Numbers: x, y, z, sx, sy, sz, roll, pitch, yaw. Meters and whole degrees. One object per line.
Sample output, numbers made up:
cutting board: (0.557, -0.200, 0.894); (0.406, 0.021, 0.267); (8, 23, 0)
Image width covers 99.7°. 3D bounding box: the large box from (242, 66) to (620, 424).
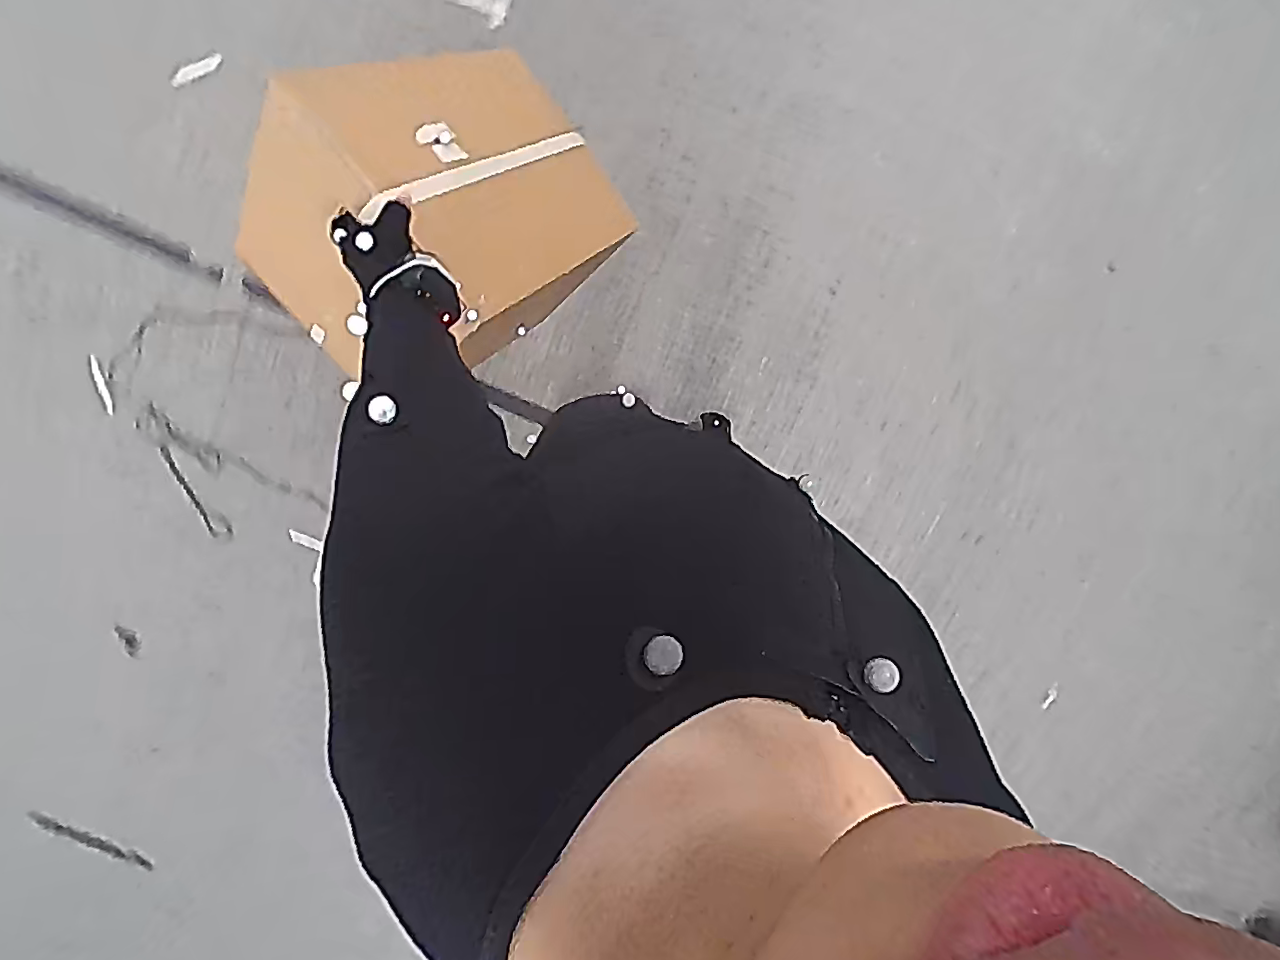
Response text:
large box: (-0.308, -0.357, 0.843); (0.320, 0.408, 0.320); (50, 139, -13)
